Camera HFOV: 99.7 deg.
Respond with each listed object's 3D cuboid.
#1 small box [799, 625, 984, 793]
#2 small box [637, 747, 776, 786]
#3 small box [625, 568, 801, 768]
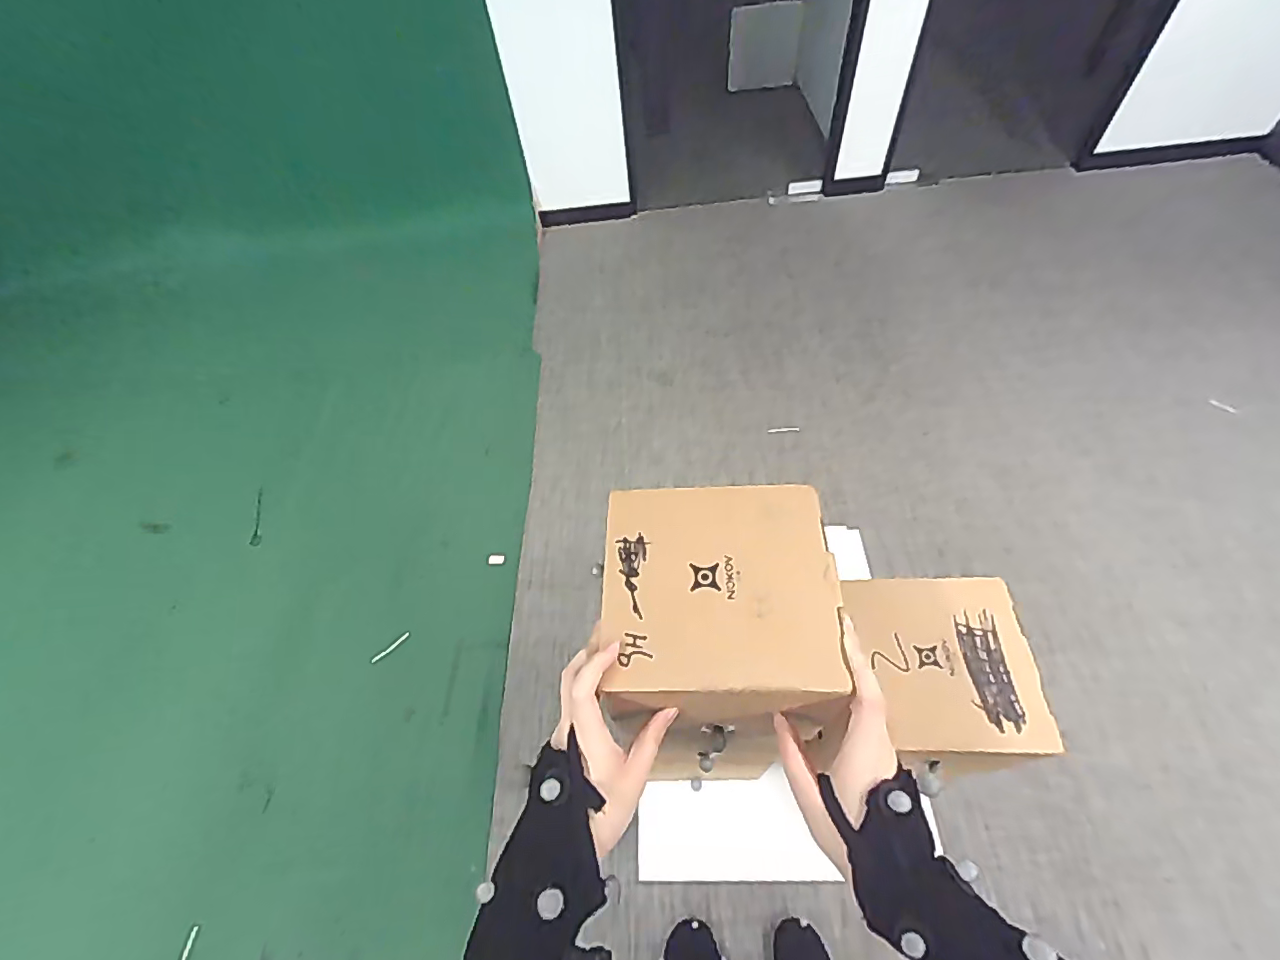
[{"bbox_3d":[0.315,0.308,0.723,0.168,0.176,0.179,-2,55,6],"label":"small box"},{"bbox_3d":[0.084,0.313,0.744,0.168,0.176,0.179,-2,56,4],"label":"small box"},{"bbox_3d":[0.075,0.215,0.613,0.168,0.176,0.179,-2,55,5],"label":"small box"}]
